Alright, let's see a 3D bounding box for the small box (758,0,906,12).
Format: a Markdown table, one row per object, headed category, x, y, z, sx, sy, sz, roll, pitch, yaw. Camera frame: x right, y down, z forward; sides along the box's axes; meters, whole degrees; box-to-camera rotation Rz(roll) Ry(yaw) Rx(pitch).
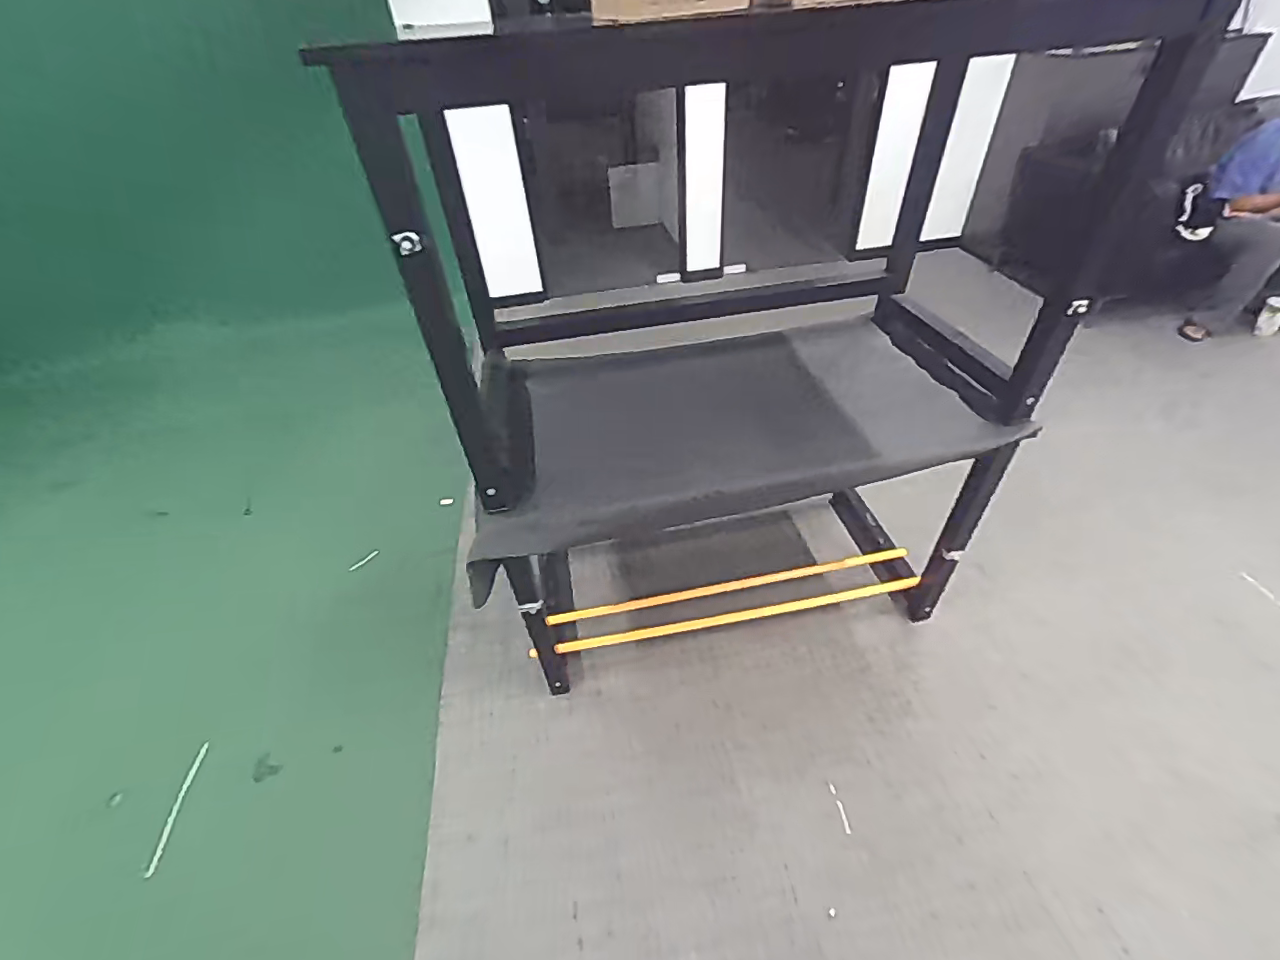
| category | x | y | z | sx | sy | sz | roll | pitch | yaw |
| --- | --- | --- | --- | --- | --- | --- | --- | --- | --- |
| small box | 0.263 | -0.736 | 0.717 | 0.168 | 0.176 | 0.179 | -8 | 41 | -4 |
